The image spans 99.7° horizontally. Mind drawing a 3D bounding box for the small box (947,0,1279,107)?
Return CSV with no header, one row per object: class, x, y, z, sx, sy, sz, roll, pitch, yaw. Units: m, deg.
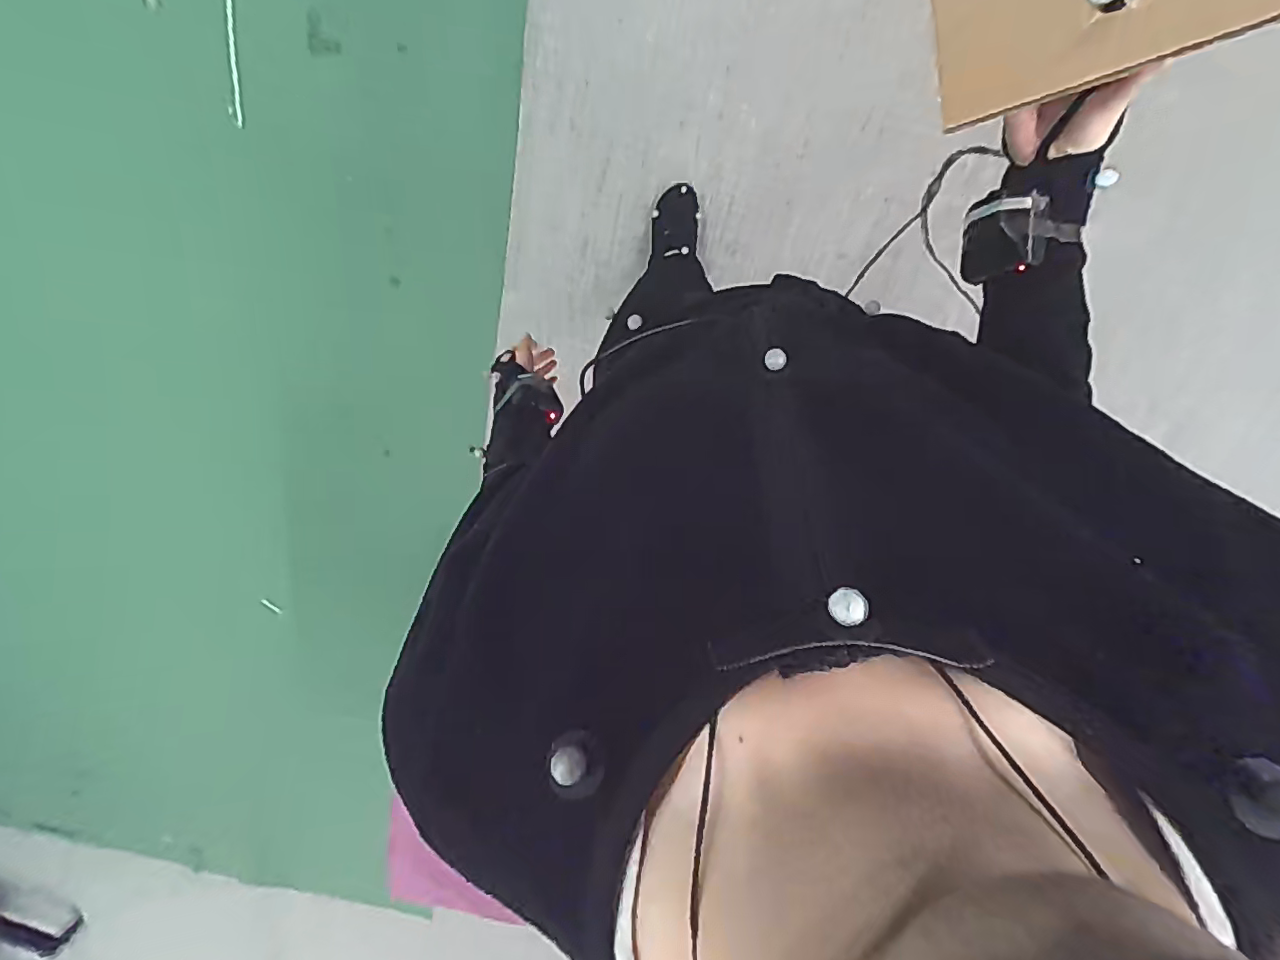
small box,0.276,-0.317,0.257,0.168,0.179,0.176,-28,115,-17
